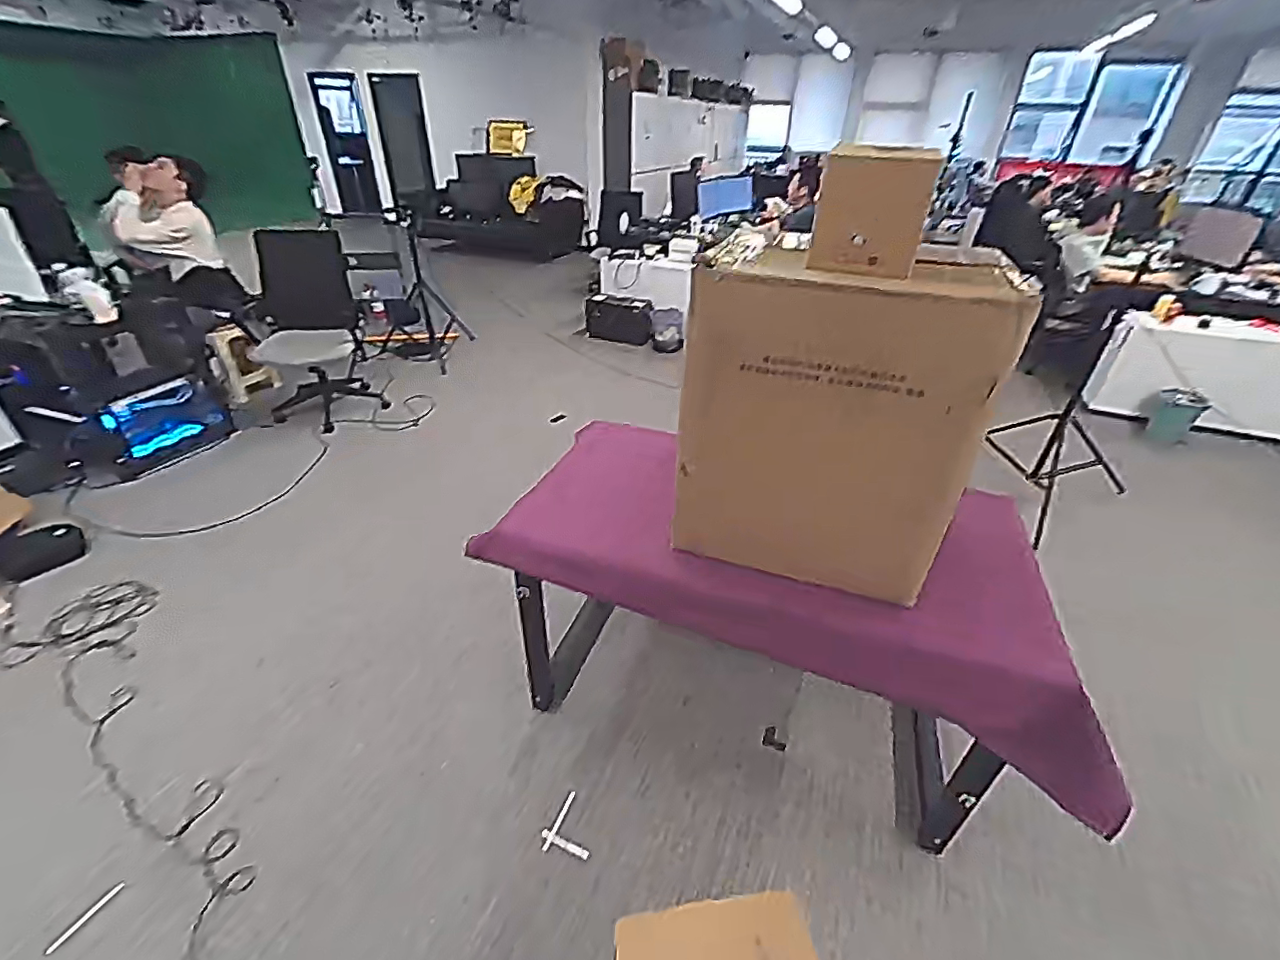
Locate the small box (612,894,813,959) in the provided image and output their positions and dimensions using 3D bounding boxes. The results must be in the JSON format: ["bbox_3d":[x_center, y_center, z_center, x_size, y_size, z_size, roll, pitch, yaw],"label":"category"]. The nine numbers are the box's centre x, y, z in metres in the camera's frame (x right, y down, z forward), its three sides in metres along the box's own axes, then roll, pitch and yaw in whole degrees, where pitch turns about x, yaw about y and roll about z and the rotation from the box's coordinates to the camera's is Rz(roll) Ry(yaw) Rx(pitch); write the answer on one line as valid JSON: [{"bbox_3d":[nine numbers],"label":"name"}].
[{"bbox_3d":[0.074,0.497,0.444,0.179,0.176,0.168,-8,0,-2],"label":"small box"}]

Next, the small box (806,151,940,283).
[{"bbox_3d":[0.383,-0.442,0.901,0.168,0.176,0.179,14,38,19],"label":"small box"}]
